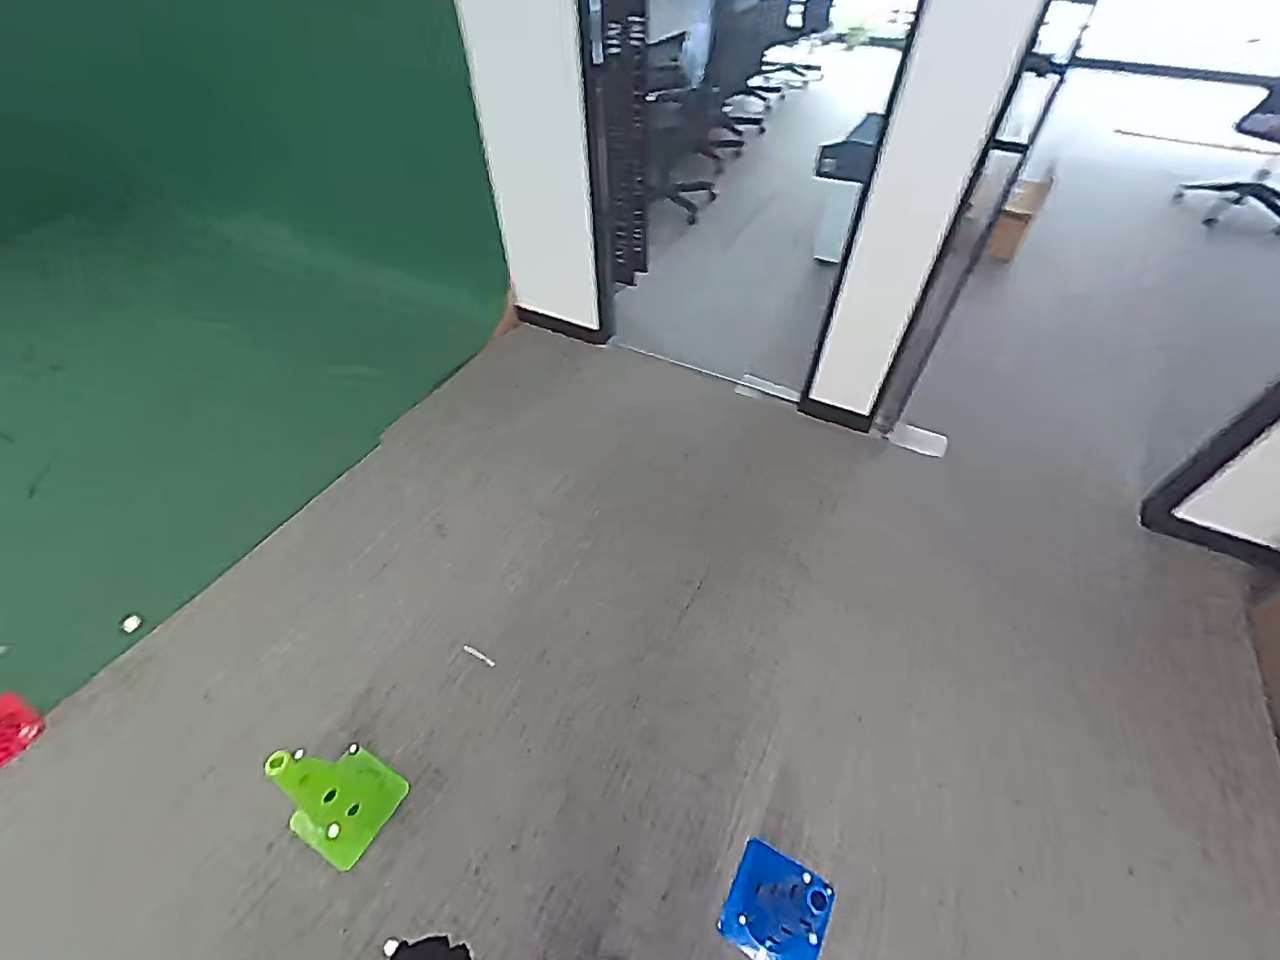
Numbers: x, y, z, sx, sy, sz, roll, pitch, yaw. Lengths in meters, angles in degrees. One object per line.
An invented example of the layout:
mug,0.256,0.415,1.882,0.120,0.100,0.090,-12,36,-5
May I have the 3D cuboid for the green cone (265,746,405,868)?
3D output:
green cone,-0.683,0.644,1.135,0.202,0.368,0.200,22,52,18
